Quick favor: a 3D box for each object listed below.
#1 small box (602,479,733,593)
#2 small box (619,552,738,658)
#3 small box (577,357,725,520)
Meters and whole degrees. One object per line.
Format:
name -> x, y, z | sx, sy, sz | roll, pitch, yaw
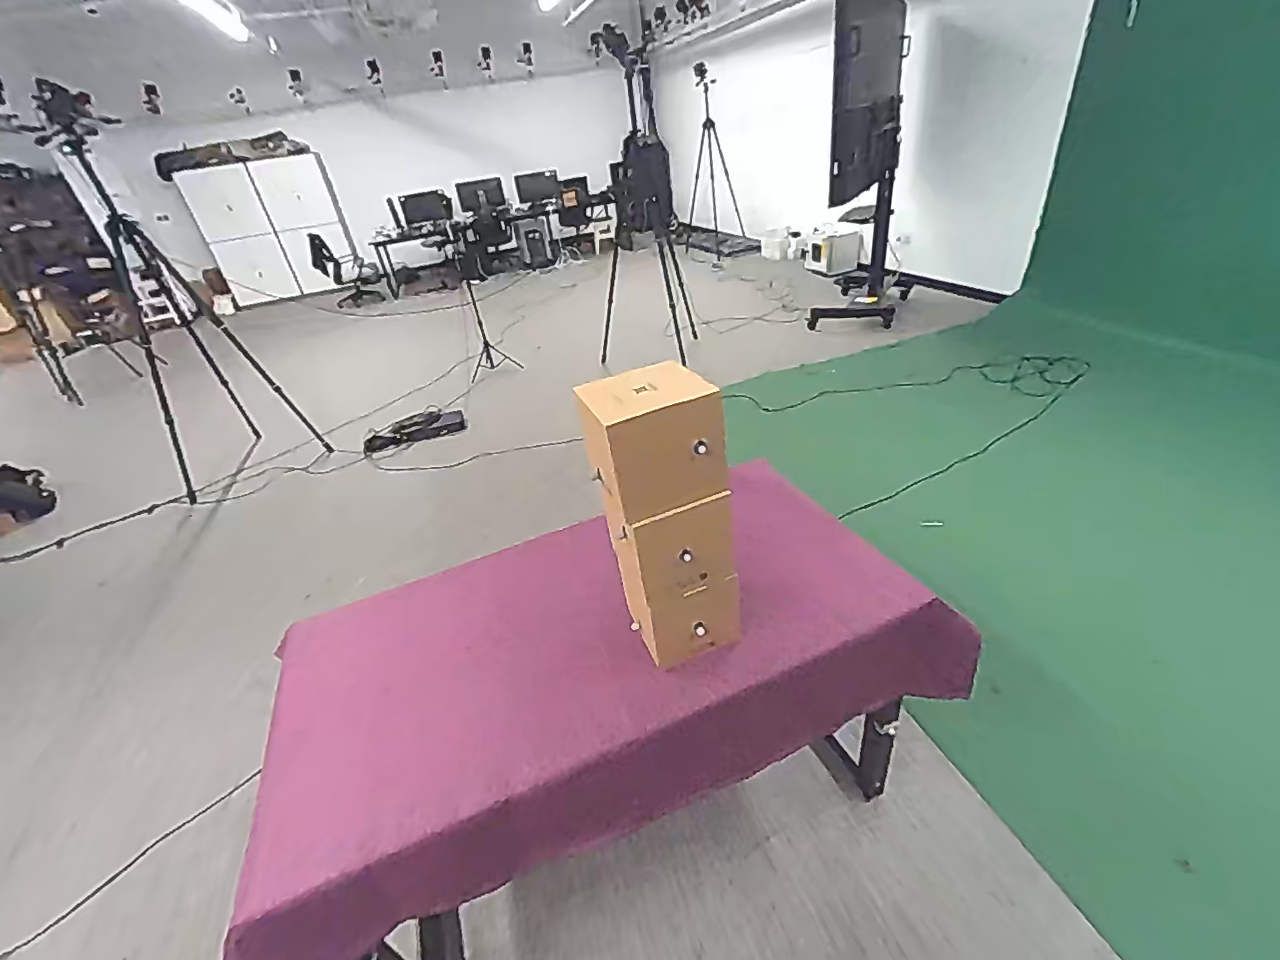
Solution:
small box -> 0.047, 0.069, 0.915 | 0.168, 0.176, 0.179 | -18, 34, -14
small box -> 0.073, 0.204, 1.006 | 0.168, 0.176, 0.179 | -18, 35, -13
small box -> 0.020, -0.067, 0.829 | 0.179, 0.176, 0.168 | -19, 33, -13
